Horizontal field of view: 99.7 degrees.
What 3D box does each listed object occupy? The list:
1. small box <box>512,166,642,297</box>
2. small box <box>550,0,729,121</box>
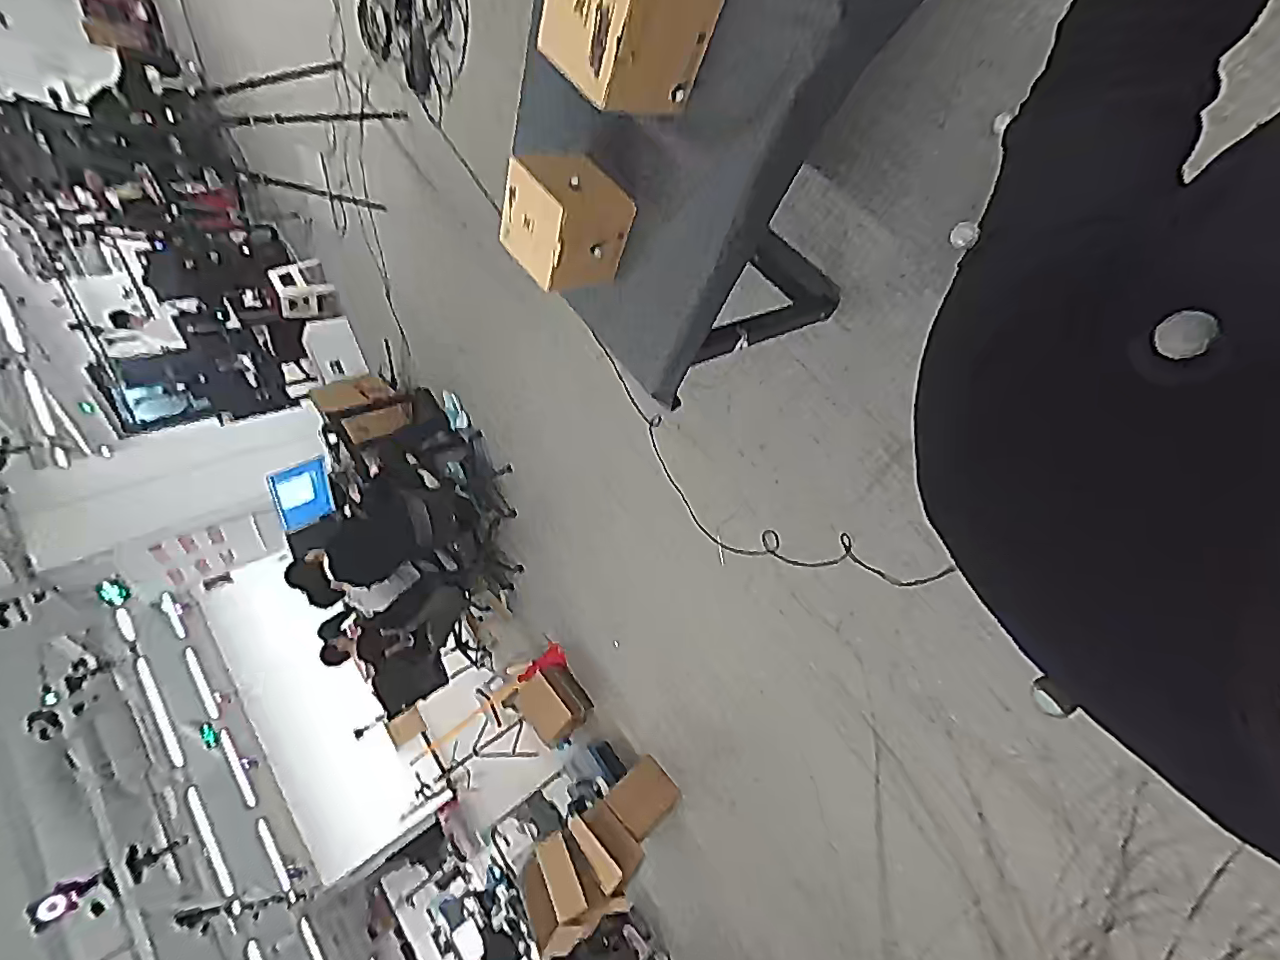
[{"bbox_3d":[-0.122,-0.487,1.049,0.179,0.176,0.168,50,142,19],"label":"small box"},{"bbox_3d":[-0.002,-0.660,0.793,0.179,0.176,0.168,53,143,18],"label":"small box"}]
